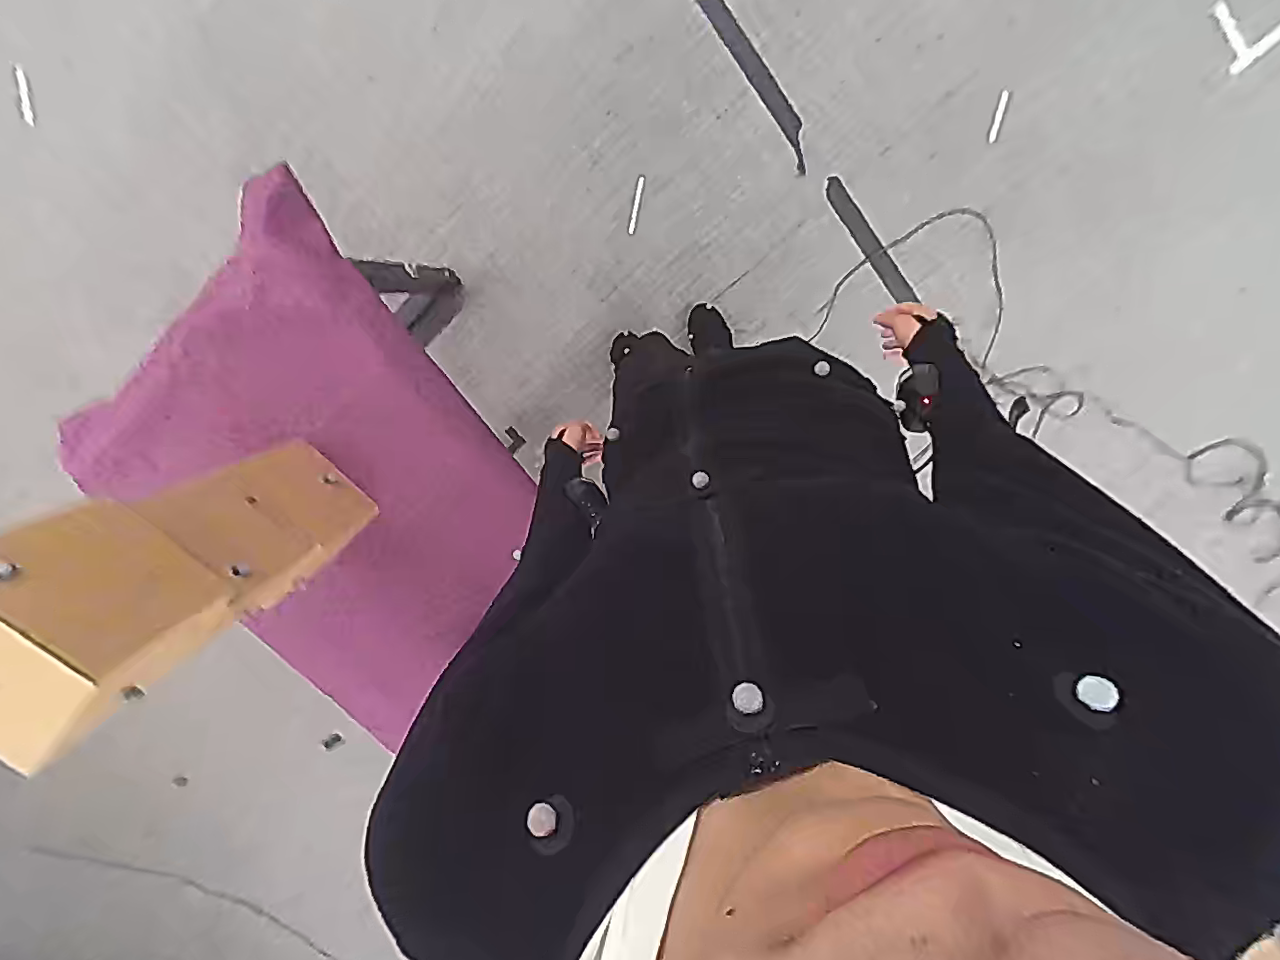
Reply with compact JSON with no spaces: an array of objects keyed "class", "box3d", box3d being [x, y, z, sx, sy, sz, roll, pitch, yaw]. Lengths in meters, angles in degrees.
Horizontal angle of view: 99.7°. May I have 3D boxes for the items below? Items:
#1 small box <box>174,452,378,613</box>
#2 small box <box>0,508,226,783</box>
[{"class":"small box","box3d":[-0.577,0.073,0.879,0.168,0.176,0.179,-41,101,16]},{"class":"small box","box3d":[-0.594,0.159,0.563,0.179,0.176,0.168,43,107,-10]}]
